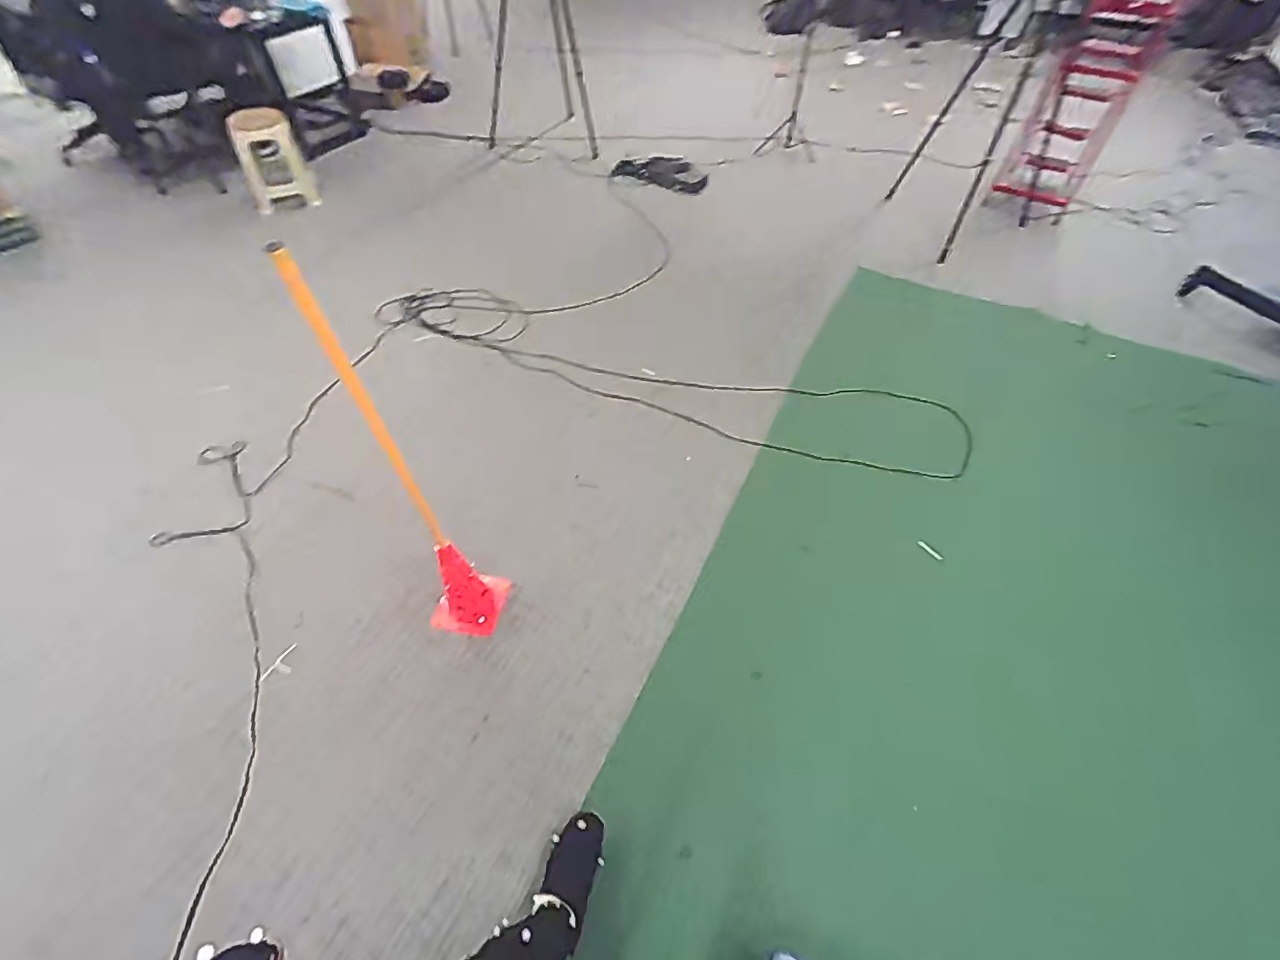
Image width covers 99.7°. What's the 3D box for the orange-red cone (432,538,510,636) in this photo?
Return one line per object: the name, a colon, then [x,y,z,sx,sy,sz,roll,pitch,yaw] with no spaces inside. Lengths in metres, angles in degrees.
orange-red cone: [-0.531,0.280,1.588,0.198,0.360,0.199,11,50,7]
